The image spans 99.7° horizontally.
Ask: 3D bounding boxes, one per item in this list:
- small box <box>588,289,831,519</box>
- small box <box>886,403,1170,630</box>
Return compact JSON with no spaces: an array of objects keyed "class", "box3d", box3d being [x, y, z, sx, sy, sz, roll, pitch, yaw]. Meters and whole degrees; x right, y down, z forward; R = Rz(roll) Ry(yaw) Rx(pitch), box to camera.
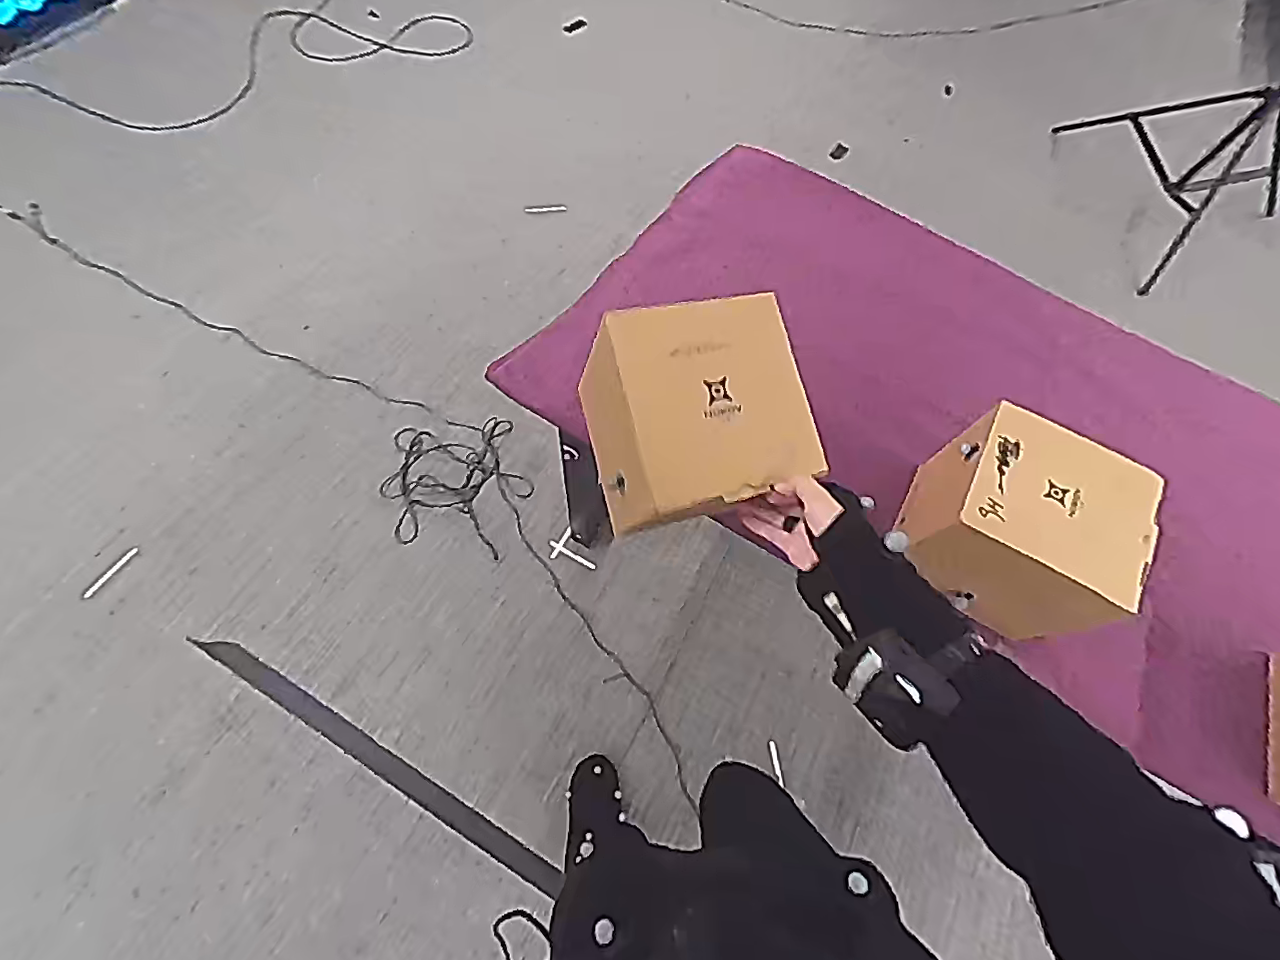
[{"class":"small box","box3d":[0.053,-0.062,0.535,0.168,0.176,0.179,-10,80,-17]},{"class":"small box","box3d":[0.418,0.052,0.606,0.179,0.176,0.168,31,67,8]}]
